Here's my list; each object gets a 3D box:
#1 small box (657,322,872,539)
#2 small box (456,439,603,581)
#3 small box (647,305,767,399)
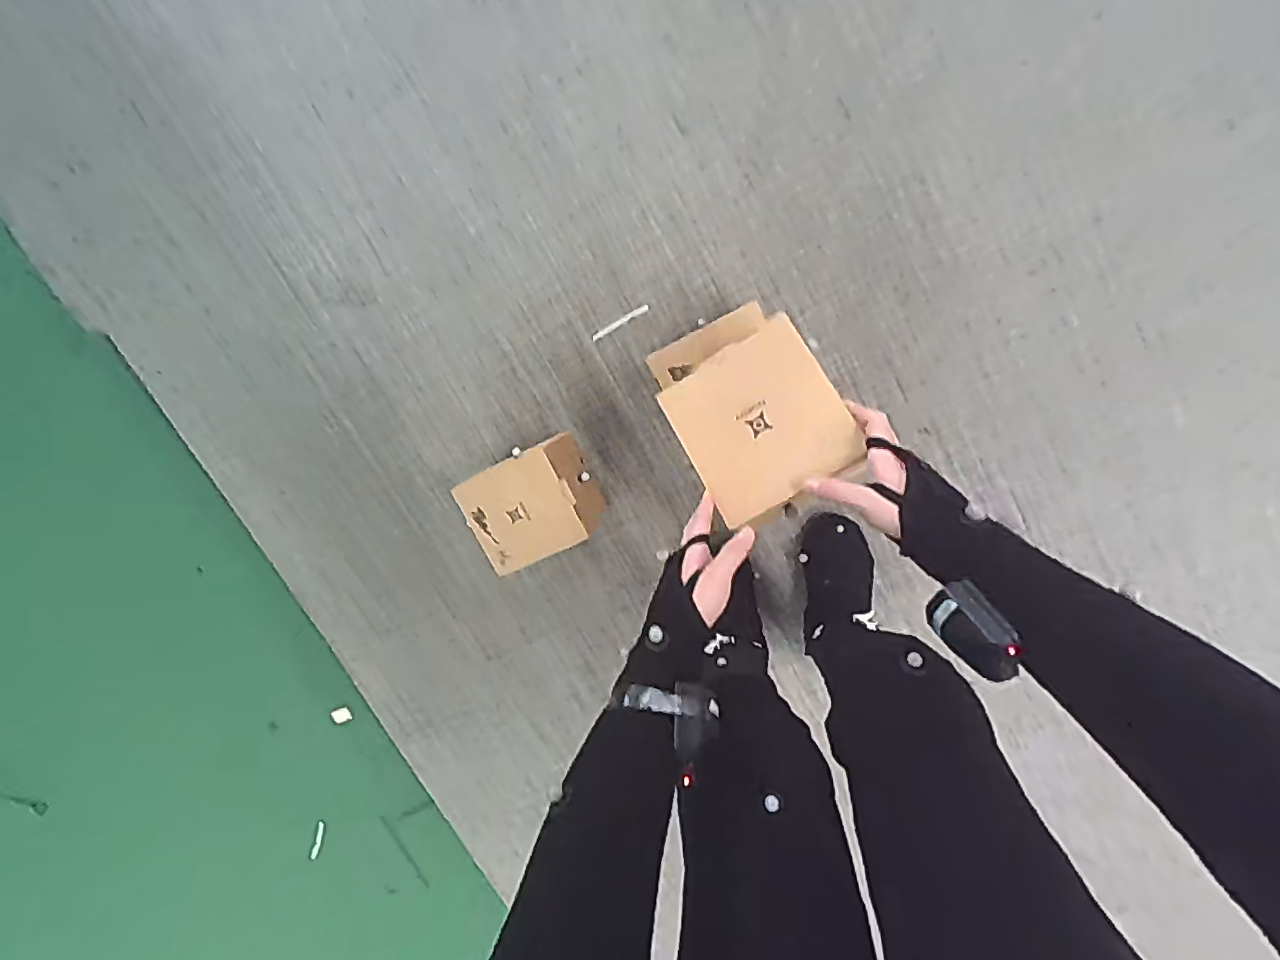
[{"bbox_3d":[0.152,-0.044,0.633,0.168,0.176,0.179,-33,71,15],"label":"small box"},{"bbox_3d":[-0.177,0.043,0.937,0.179,0.176,0.168,-25,99,11],"label":"small box"},{"bbox_3d":[0.130,-0.153,0.851,0.179,0.176,0.168,-26,99,11],"label":"small box"}]
